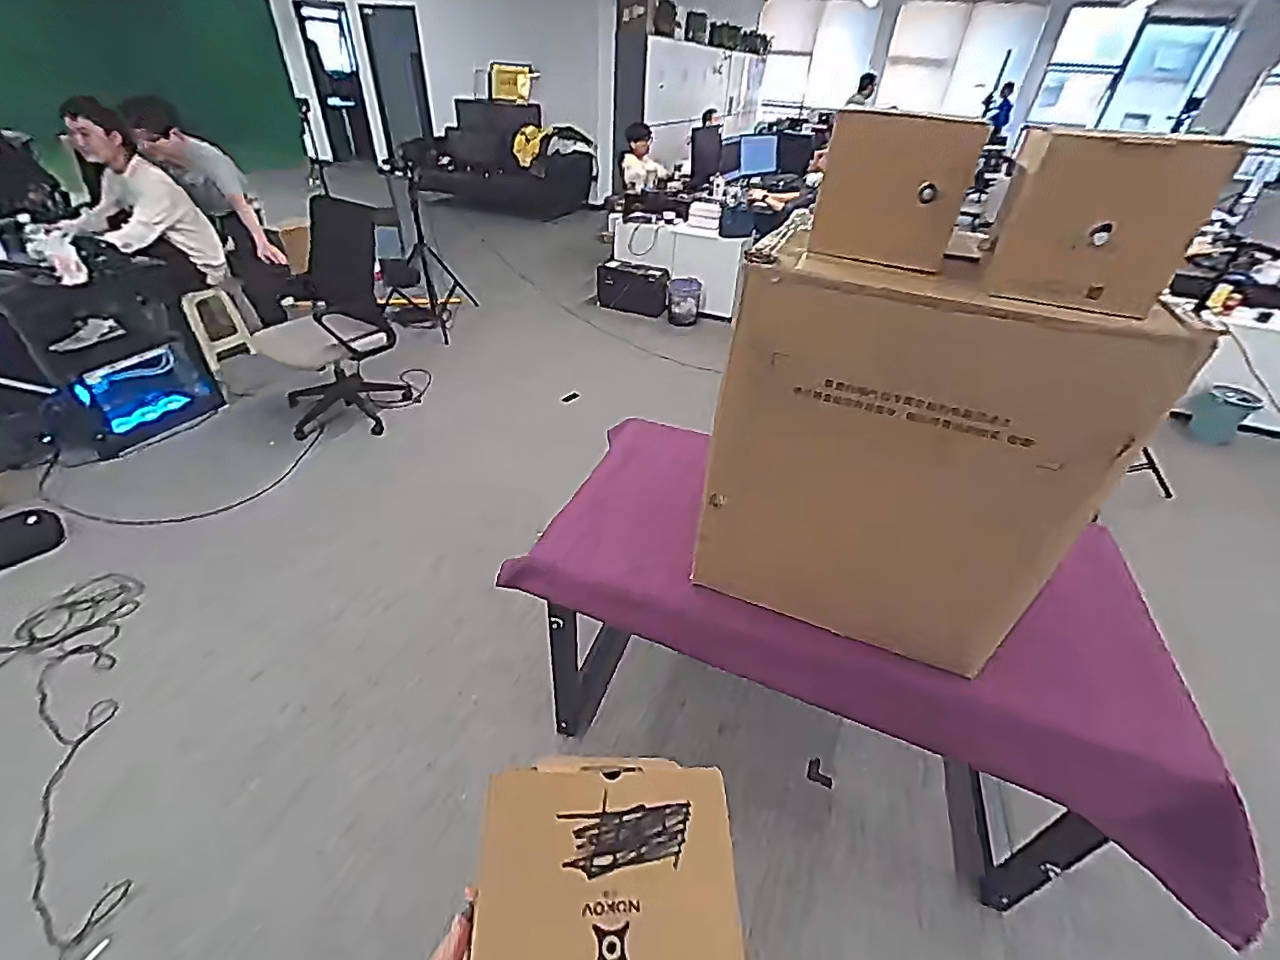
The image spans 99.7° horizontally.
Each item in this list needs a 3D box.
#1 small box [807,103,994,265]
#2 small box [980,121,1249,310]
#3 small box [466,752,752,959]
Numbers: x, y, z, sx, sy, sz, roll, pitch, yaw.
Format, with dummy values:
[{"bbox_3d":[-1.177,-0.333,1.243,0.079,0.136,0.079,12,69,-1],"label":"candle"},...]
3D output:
[{"bbox_3d":[0.345,-0.404,0.738,0.179,0.176,0.168,16,38,16],"label":"small box"},{"bbox_3d":[0.526,-0.314,0.636,0.168,0.176,0.179,17,39,18],"label":"small box"},{"bbox_3d":[-0.034,0.309,0.385,0.168,0.176,0.179,7,50,-14],"label":"small box"}]
